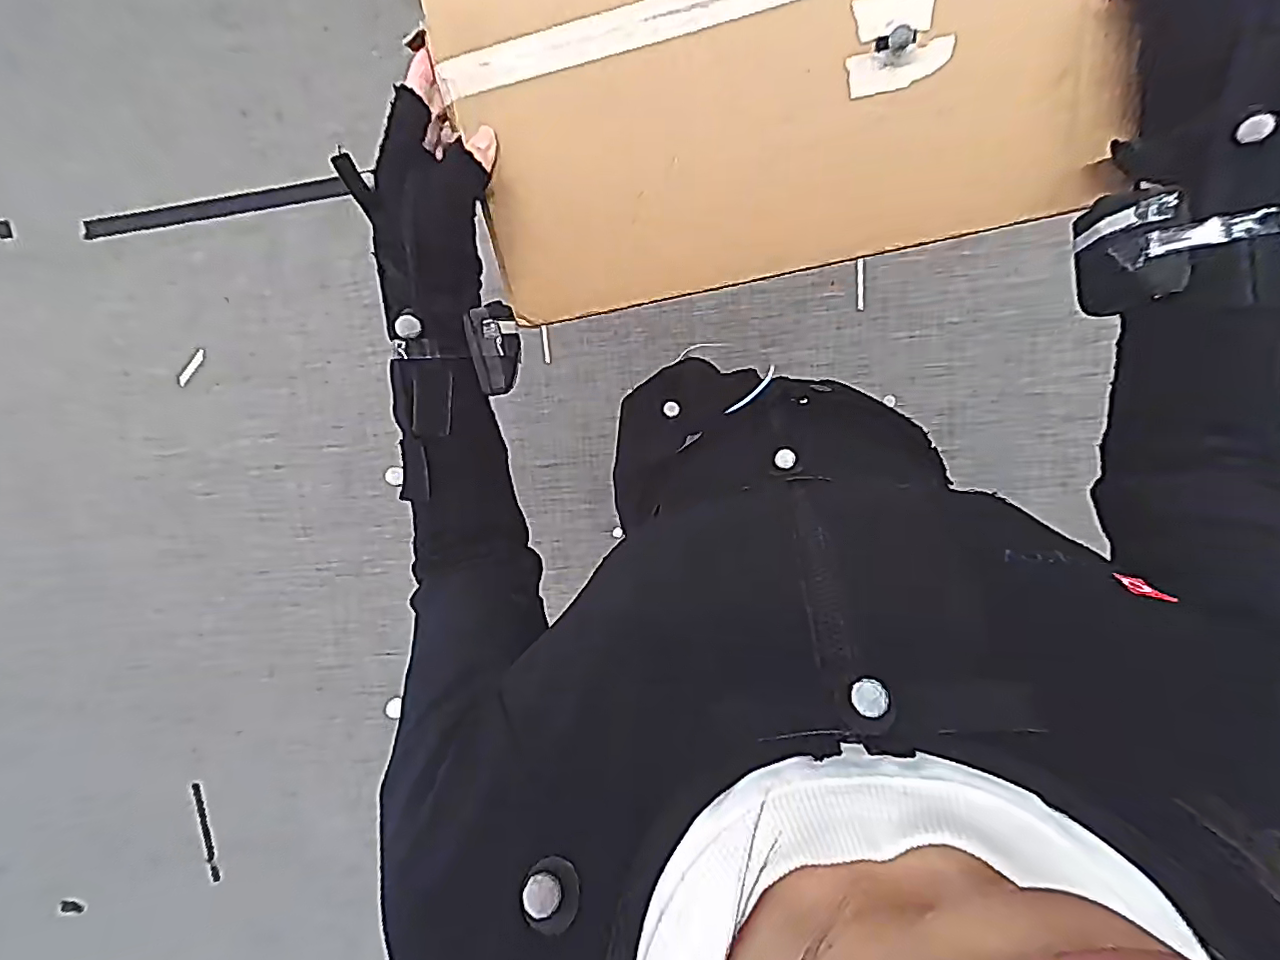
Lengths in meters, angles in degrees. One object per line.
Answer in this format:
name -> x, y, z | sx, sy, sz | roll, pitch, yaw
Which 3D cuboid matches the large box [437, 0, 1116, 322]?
large box -> 0.085, -0.347, 0.466 | 0.408, 0.320, 0.320 | -9, 112, 9
